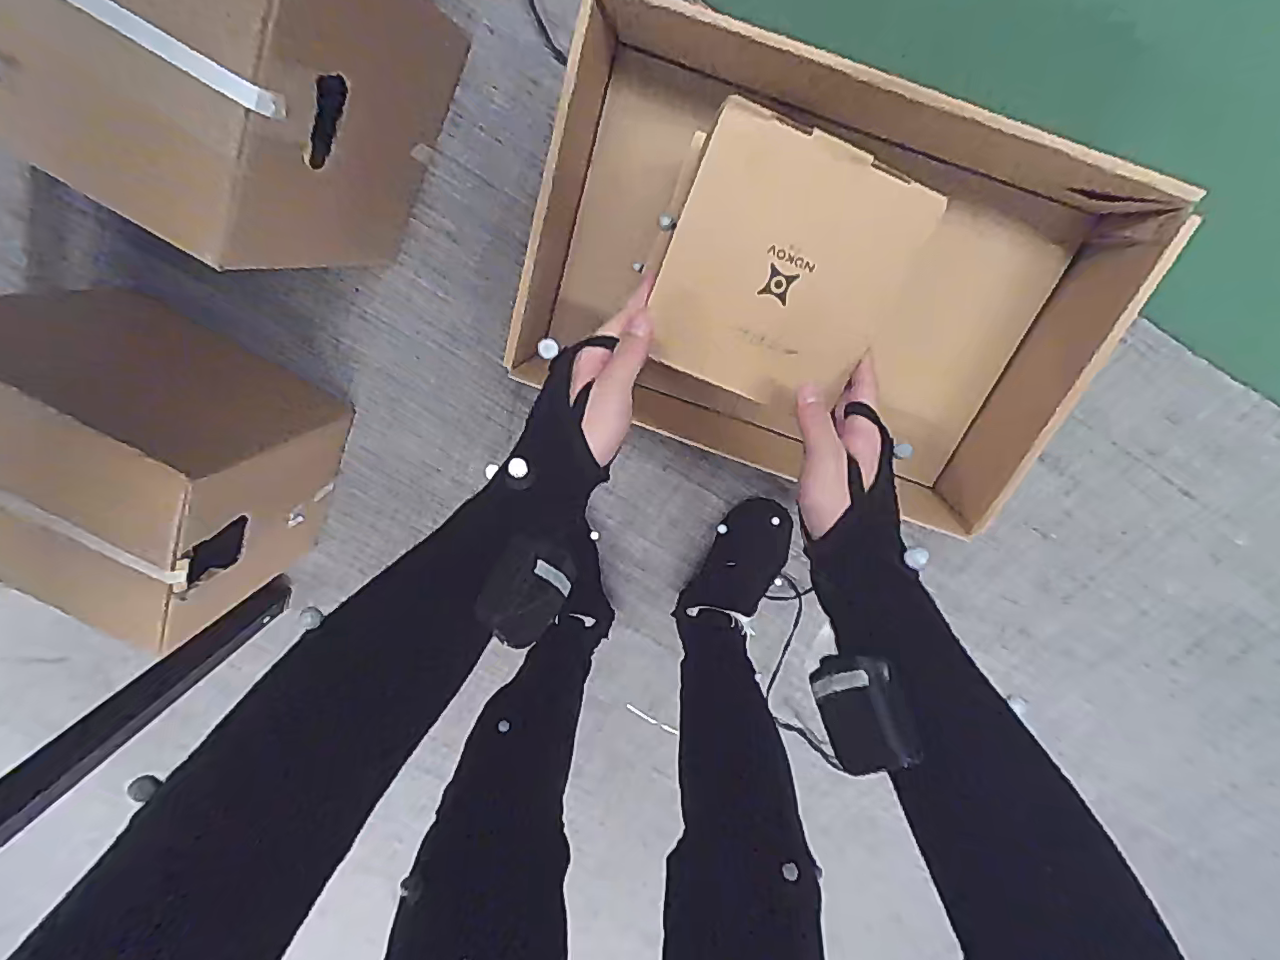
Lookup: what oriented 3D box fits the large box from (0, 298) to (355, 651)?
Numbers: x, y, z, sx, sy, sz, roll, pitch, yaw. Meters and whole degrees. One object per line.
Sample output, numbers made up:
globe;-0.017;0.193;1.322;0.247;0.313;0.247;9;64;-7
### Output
large box;-0.723;-0.030;0.804;0.408;0.320;0.320;28;112;-3
